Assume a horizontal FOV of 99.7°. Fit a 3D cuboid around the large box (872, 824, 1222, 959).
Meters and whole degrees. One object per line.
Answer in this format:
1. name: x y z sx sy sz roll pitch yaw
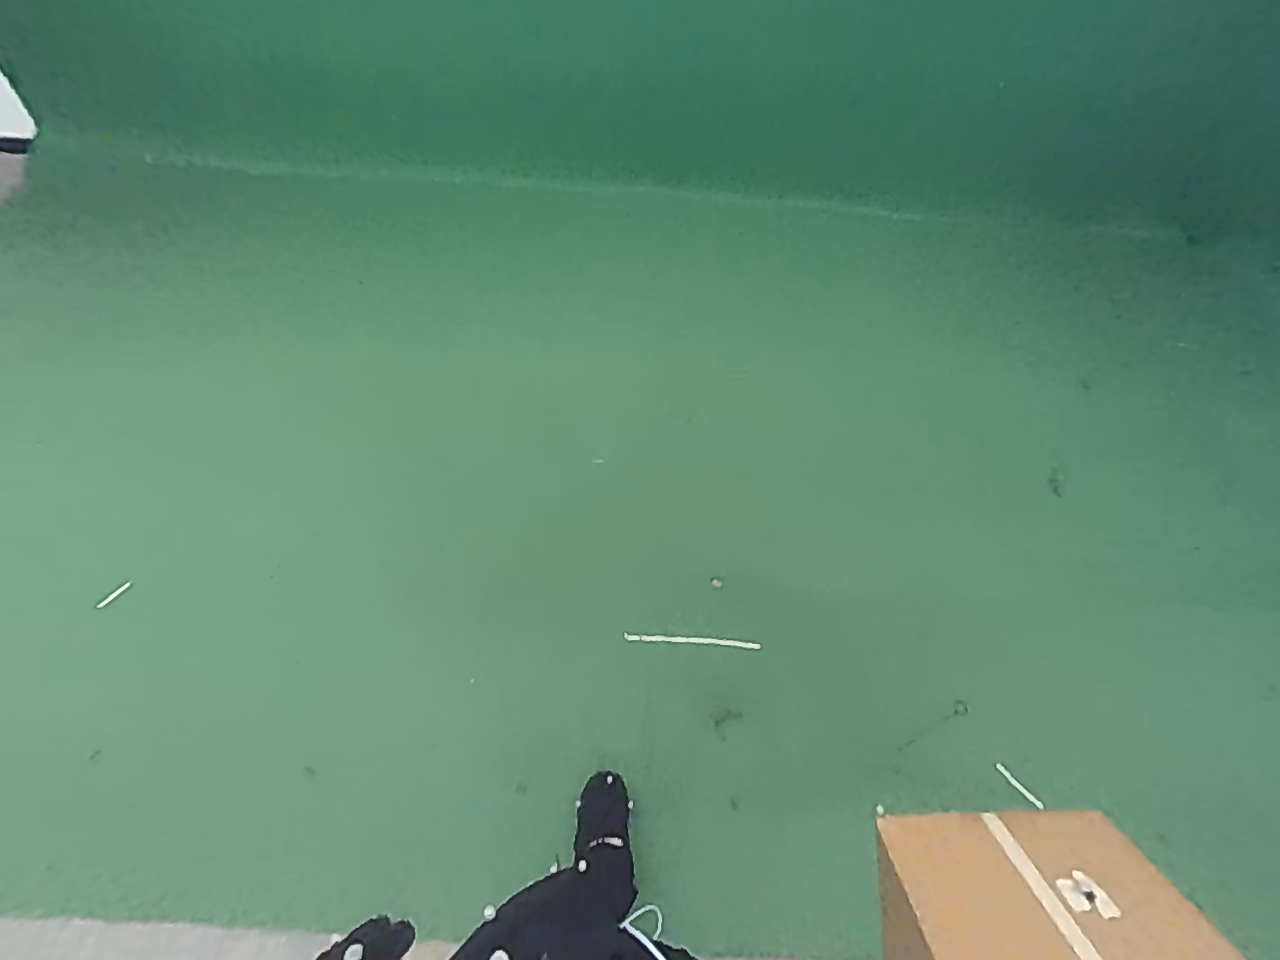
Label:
1. large box: 0.496 0.681 0.612 0.320 0.408 0.320 -4 96 6
